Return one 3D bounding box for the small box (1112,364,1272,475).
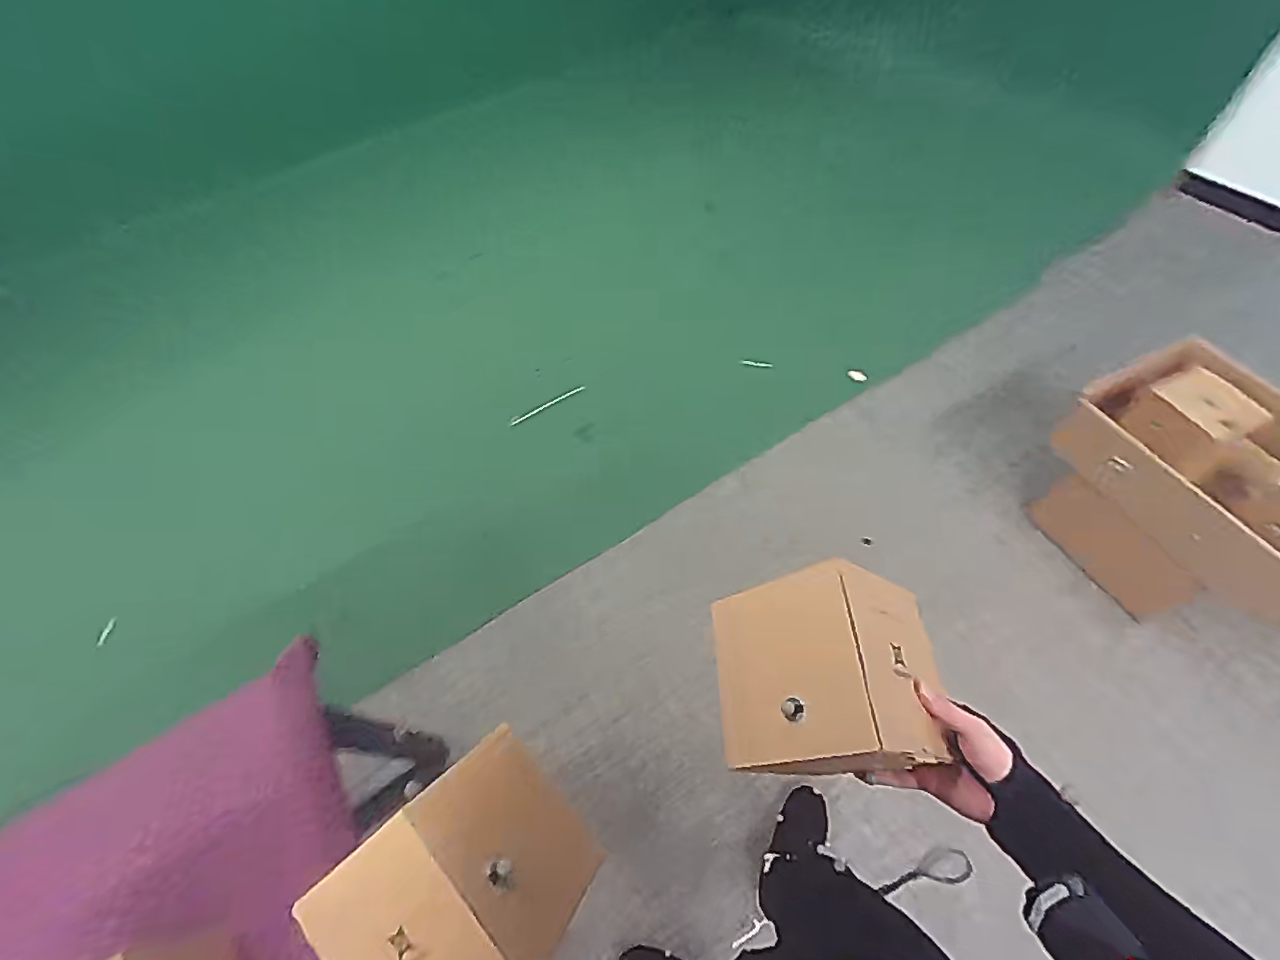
[{"bbox_3d":[1.321,-0.143,1.313,0.168,0.176,0.179,-22,57,-8],"label":"small box"}]
